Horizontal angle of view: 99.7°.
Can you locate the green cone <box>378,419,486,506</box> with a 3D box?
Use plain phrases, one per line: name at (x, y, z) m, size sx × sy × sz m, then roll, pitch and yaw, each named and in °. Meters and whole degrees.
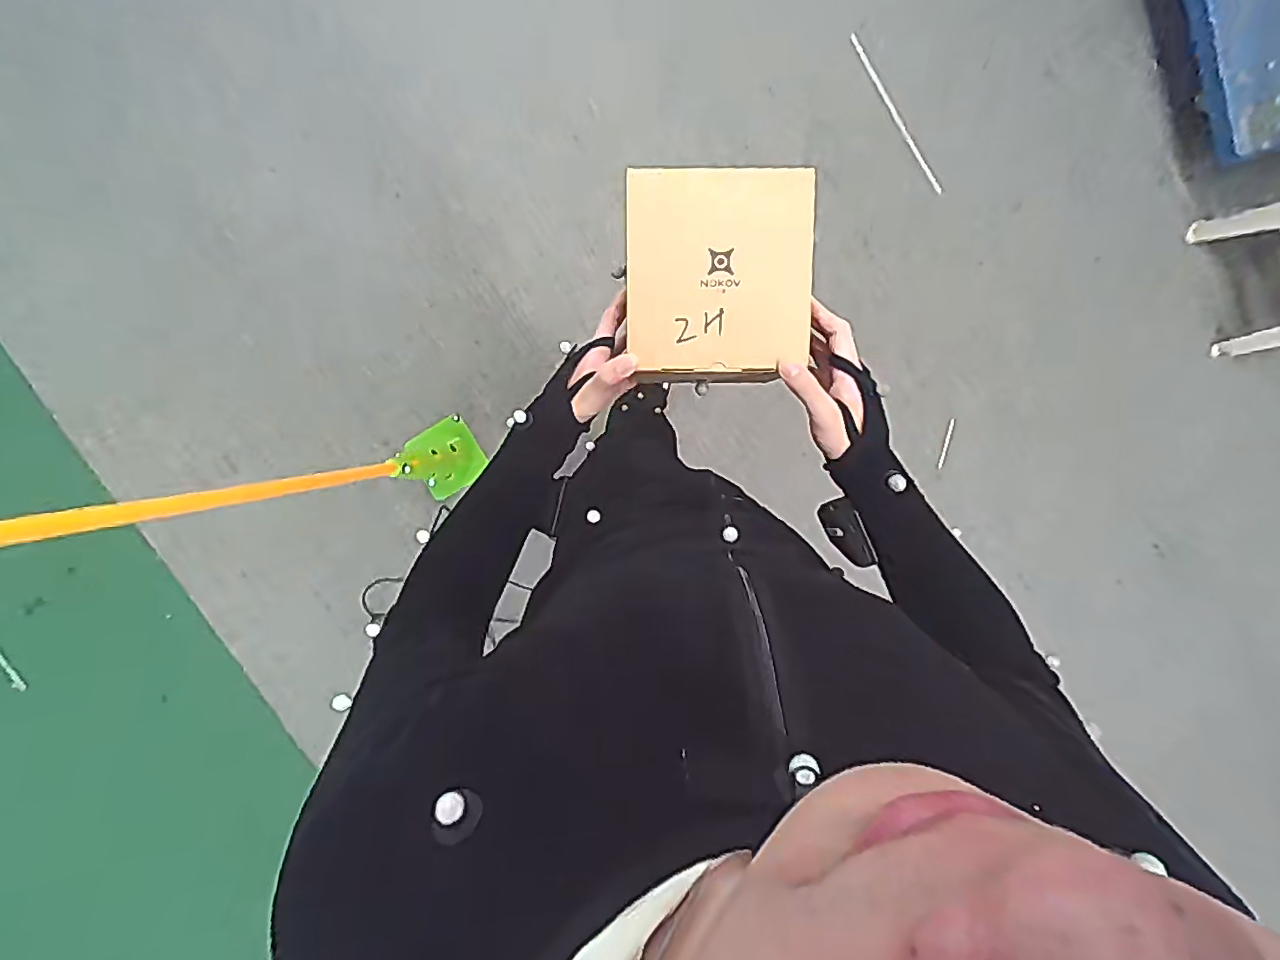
green cone at (-0.577, -0.027, 1.398) m, size 0.200 × 0.368 × 0.202 m, roll -31°, pitch 96°, yaw 5°
